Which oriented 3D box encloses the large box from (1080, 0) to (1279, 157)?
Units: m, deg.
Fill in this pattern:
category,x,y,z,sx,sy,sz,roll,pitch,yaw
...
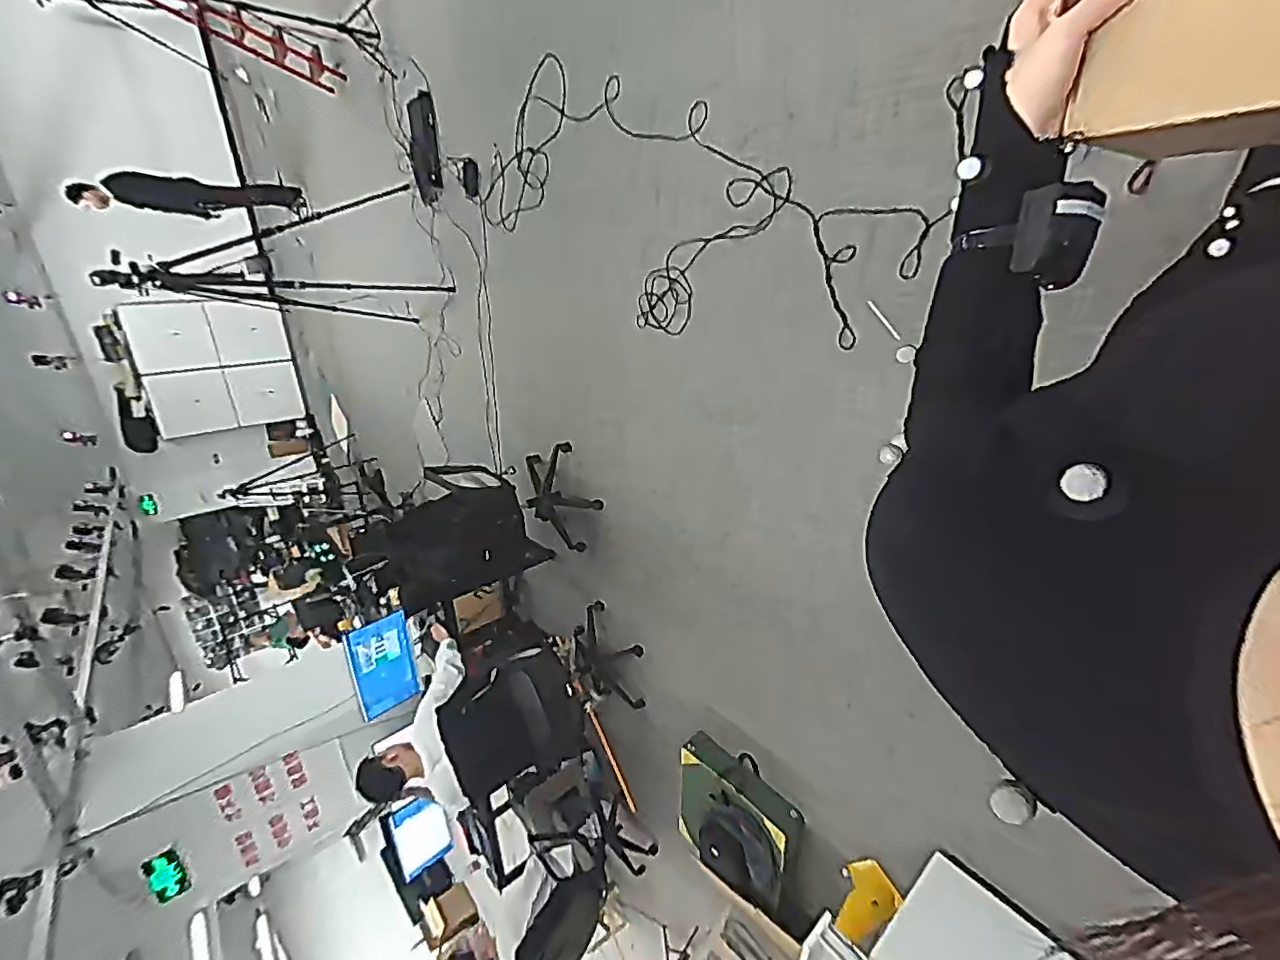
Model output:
category,x,y,z,sx,sy,sz,roll,pitch,yaw
large box,0.547,-0.398,0.293,0.408,0.320,0.320,18,122,44
